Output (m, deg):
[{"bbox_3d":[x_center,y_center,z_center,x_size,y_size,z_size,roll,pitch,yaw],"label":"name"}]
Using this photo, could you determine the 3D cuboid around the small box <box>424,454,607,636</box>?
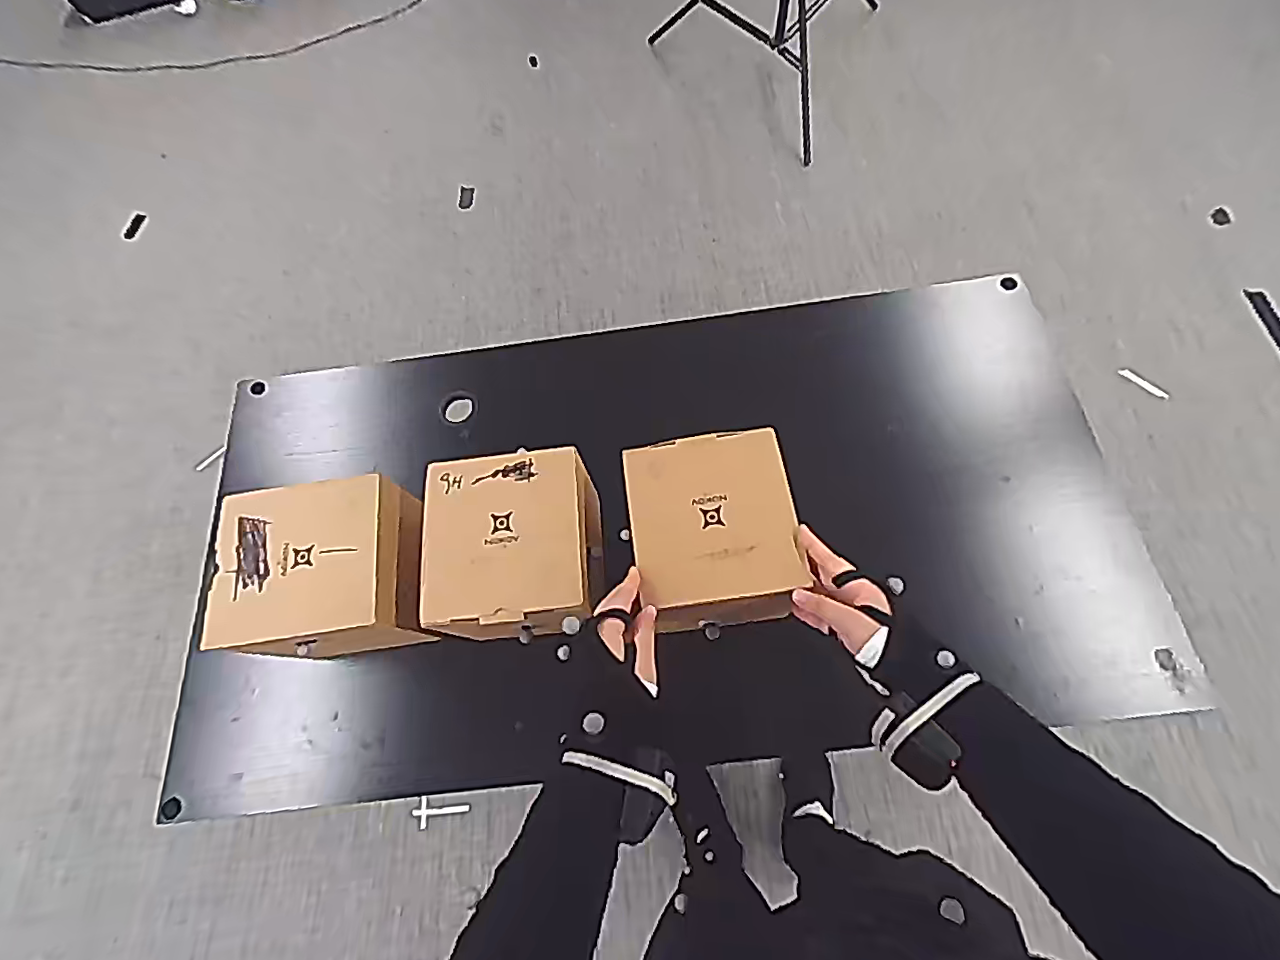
[{"bbox_3d":[-0.135,0.087,0.640,0.168,0.176,0.179,-7,69,3],"label":"small box"}]

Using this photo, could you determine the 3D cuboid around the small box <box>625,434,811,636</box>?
[{"bbox_3d":[0.080,0.071,0.625,0.168,0.176,0.179,-10,67,3],"label":"small box"}]

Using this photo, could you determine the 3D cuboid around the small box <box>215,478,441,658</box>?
[{"bbox_3d":[-0.349,0.114,0.647,0.179,0.176,0.168,-9,69,0],"label":"small box"}]
